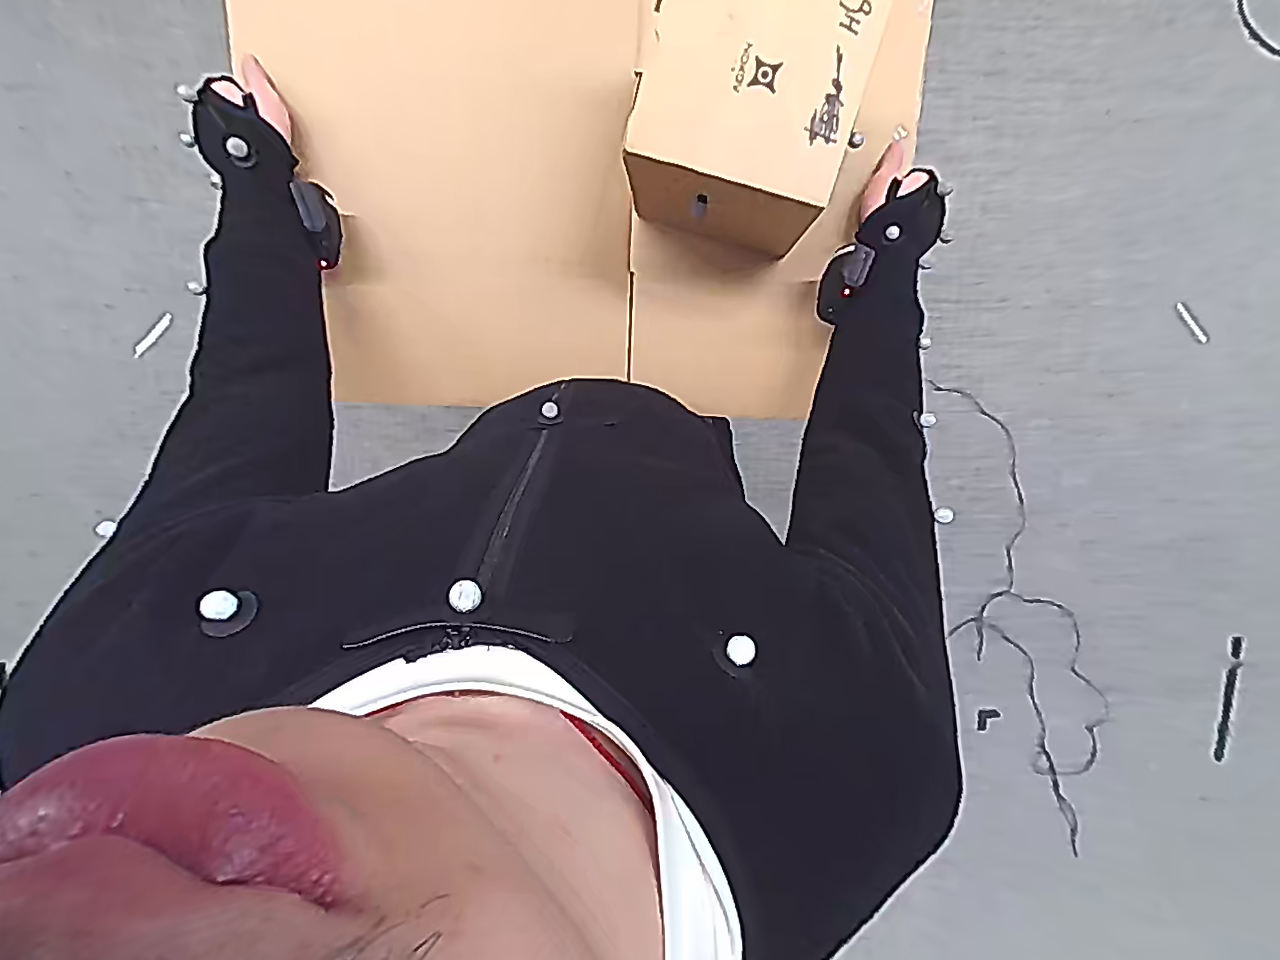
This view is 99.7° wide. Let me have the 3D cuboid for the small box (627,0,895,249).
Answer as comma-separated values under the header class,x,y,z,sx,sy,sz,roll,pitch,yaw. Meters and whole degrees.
class,x,y,z,sx,sy,sz,roll,pitch,yaw
small box,0.100,-0.338,0.511,0.179,0.176,0.168,17,100,1
